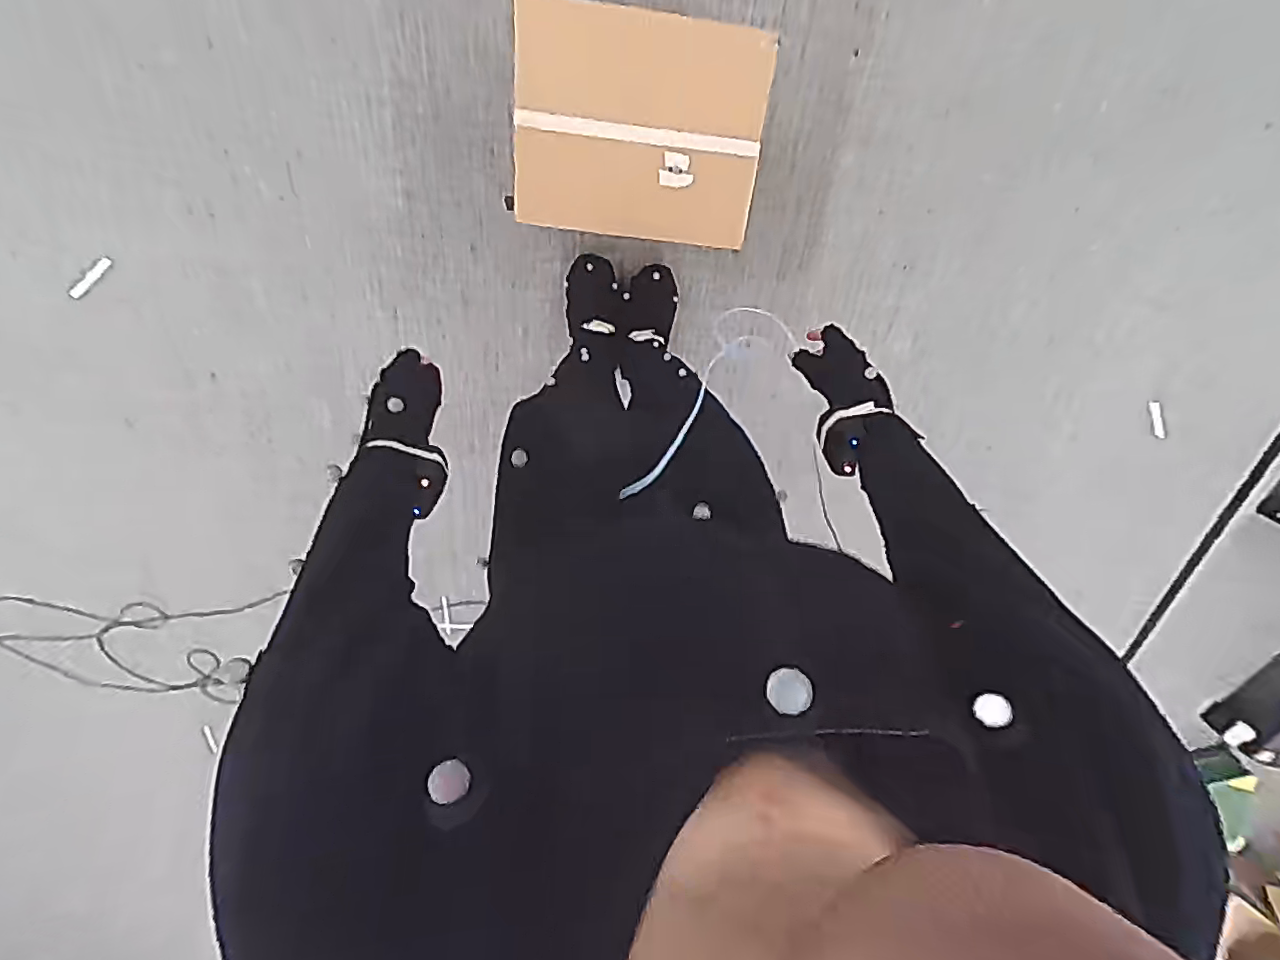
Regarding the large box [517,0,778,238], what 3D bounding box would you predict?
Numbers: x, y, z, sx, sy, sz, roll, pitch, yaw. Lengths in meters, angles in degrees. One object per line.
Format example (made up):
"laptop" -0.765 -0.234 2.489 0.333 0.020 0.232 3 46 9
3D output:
"large box" -0.009 -0.655 1.015 0.408 0.320 0.320 4 120 -6
